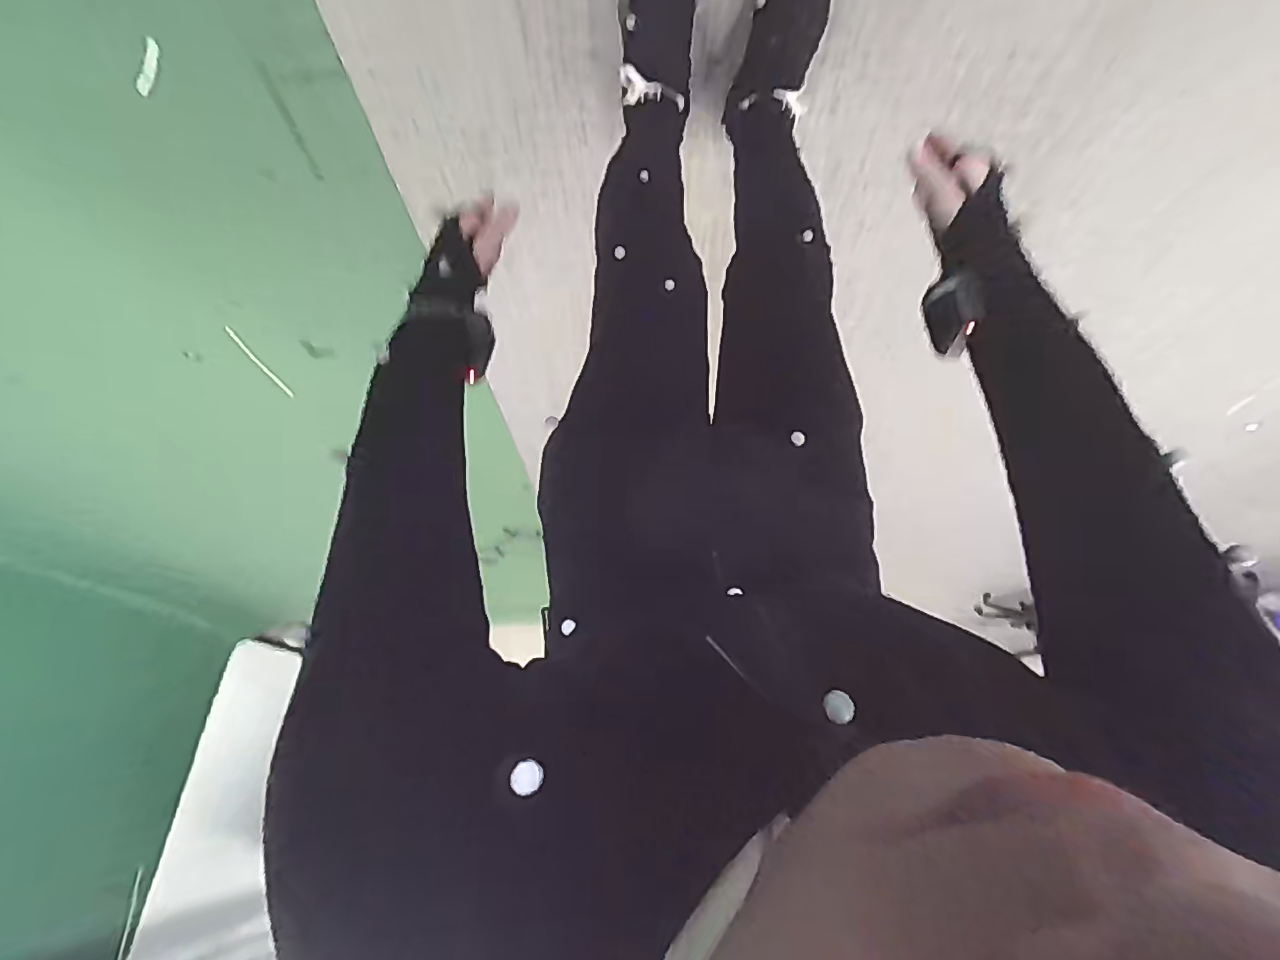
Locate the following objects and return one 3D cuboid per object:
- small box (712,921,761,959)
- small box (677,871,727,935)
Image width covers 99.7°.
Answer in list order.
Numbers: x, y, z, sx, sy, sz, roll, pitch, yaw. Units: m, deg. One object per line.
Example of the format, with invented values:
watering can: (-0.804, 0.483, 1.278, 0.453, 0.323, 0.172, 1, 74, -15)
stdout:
small box: (0.360, 1.783, 2.026, 0.168, 0.176, 0.179, 0, 153, 2)
small box: (0.236, 1.634, 2.096, 0.179, 0.176, 0.168, -1, 152, 3)
